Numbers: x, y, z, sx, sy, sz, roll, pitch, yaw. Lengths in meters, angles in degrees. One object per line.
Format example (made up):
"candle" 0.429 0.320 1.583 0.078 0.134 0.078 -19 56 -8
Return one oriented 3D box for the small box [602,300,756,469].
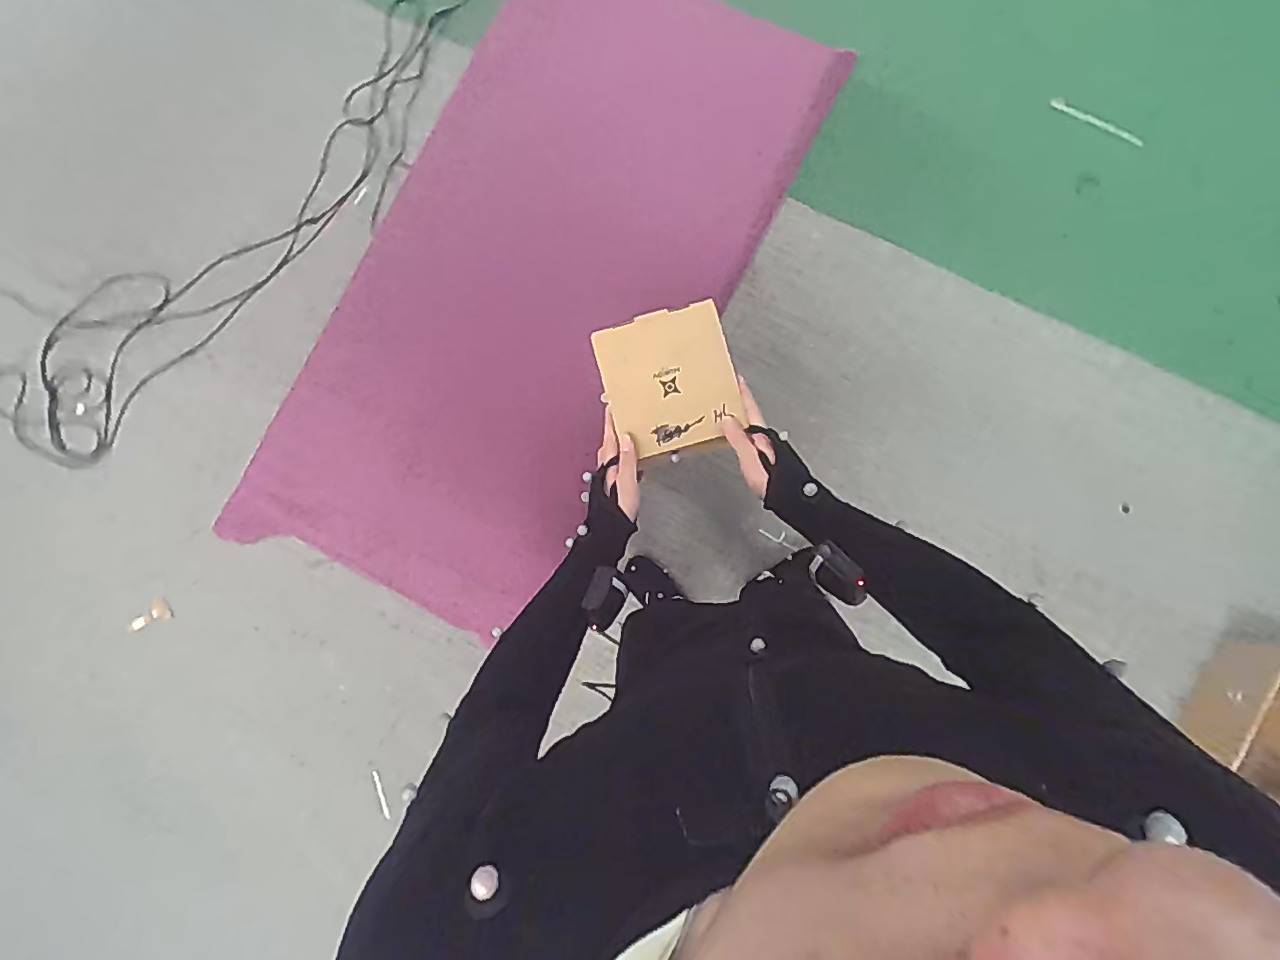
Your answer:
"small box" 0.051 -0.121 0.757 0.168 0.176 0.179 -14 87 3
